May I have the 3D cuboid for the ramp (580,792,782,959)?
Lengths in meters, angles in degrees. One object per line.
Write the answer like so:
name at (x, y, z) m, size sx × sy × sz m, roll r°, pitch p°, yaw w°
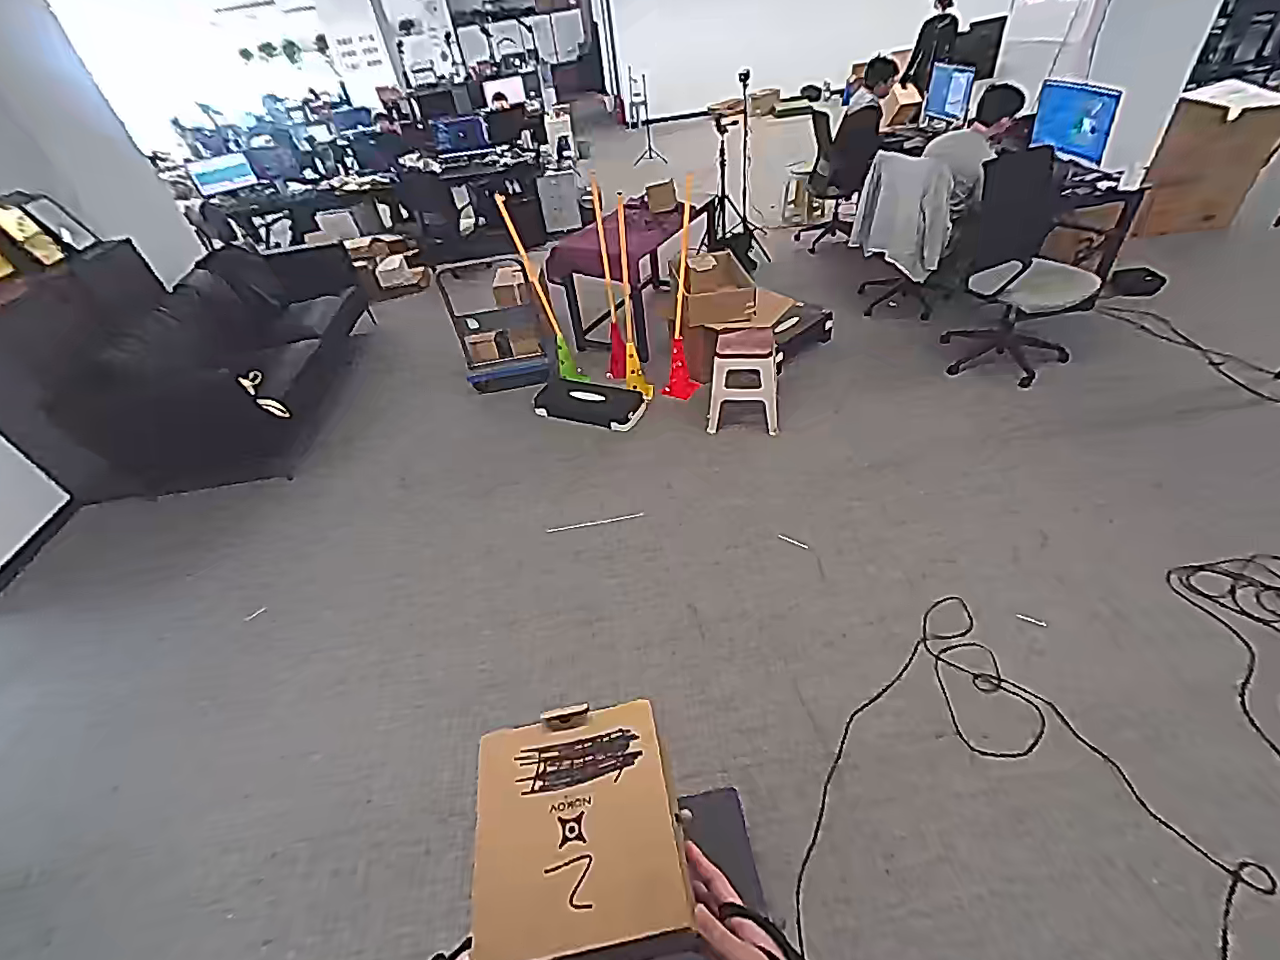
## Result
ramp at (0.107, 1.238, 1.209) m, size 0.509 × 0.206 × 0.991 m, roll -12°, pitch 40°, yaw -1°
